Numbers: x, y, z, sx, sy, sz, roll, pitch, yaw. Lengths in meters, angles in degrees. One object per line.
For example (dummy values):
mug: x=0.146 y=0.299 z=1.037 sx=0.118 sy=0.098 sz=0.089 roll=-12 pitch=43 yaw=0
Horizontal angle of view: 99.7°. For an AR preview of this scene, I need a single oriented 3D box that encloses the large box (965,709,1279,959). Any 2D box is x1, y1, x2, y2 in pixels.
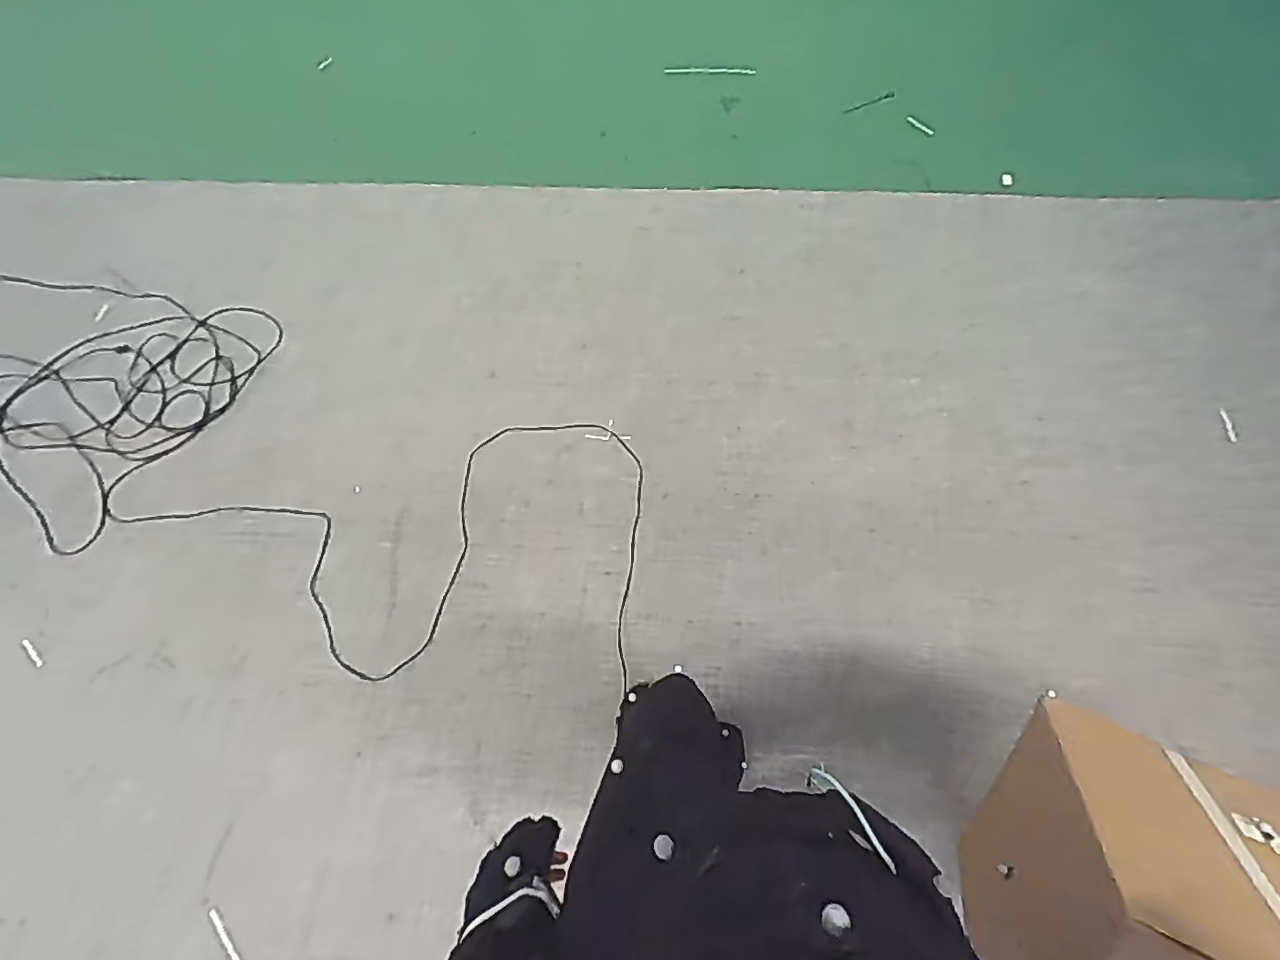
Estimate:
large box: x=0.621 y=0.566 z=0.635 sx=0.320 sy=0.408 sz=0.320 roll=22 pitch=107 yaw=22
